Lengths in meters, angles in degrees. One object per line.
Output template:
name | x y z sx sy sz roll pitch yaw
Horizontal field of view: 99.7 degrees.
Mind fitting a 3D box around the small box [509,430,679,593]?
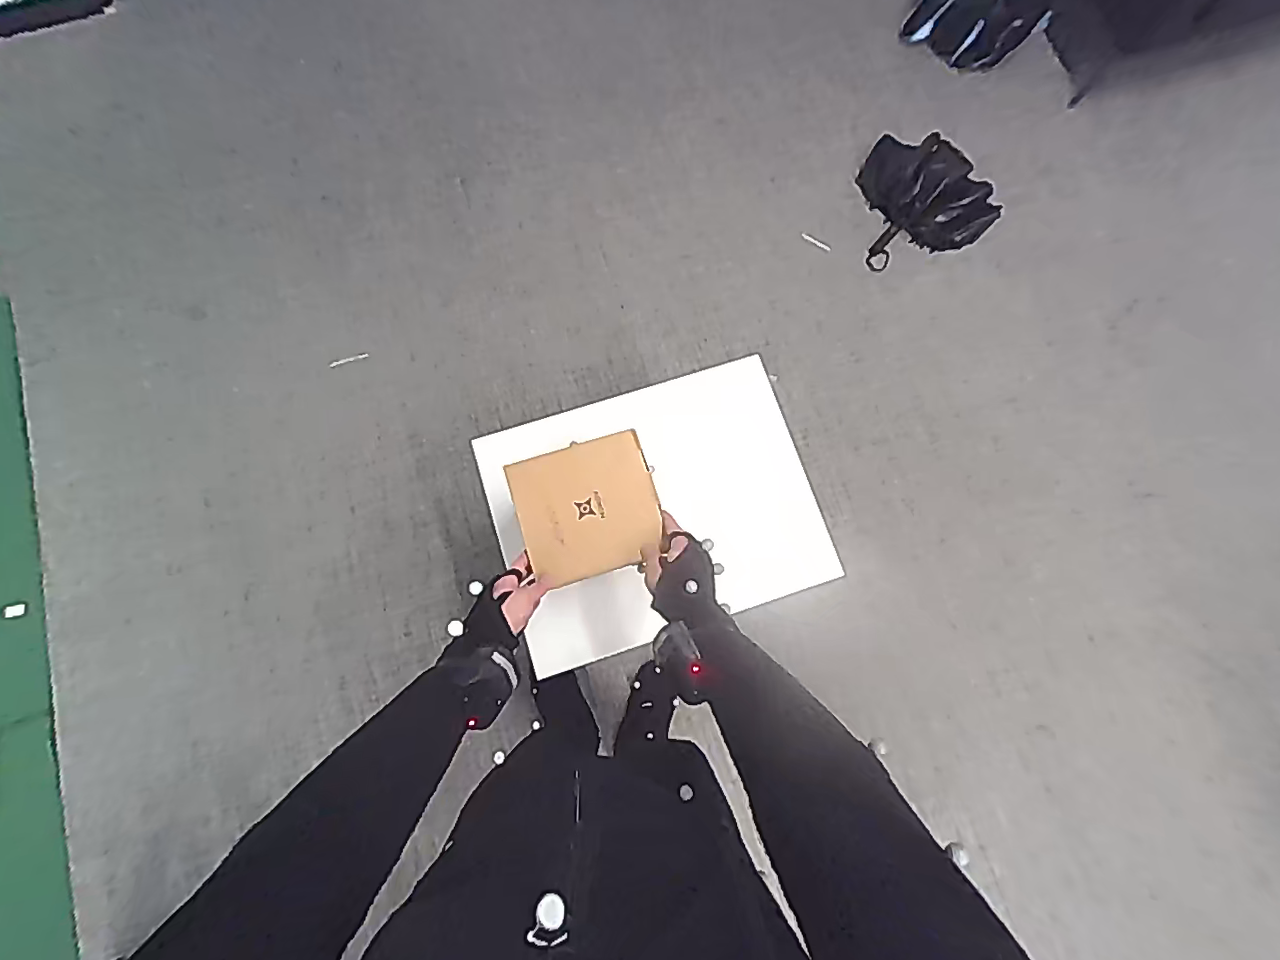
small box | -0.061 0.048 0.740 0.179 0.176 0.168 -17 80 -5
